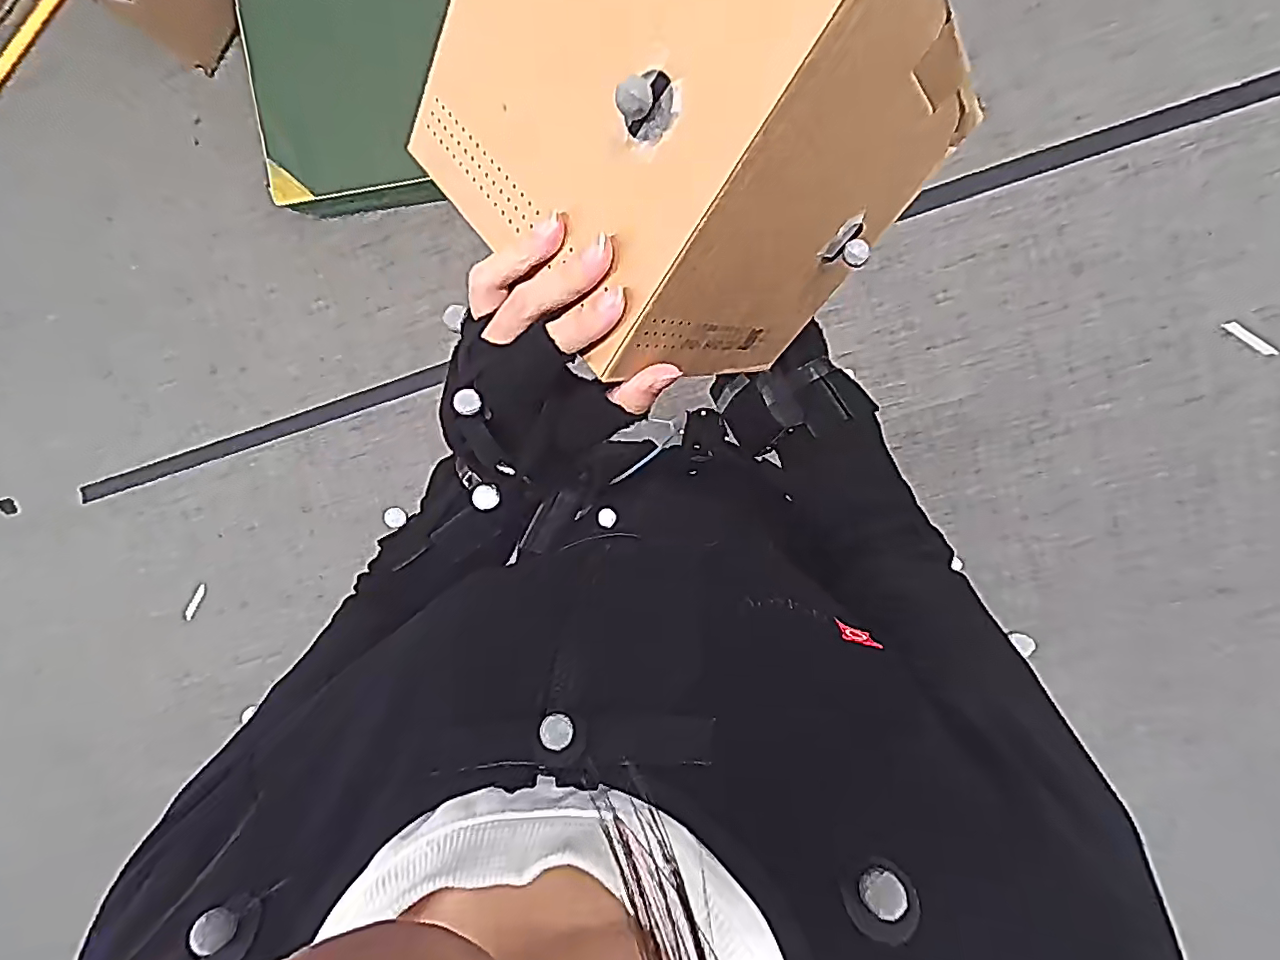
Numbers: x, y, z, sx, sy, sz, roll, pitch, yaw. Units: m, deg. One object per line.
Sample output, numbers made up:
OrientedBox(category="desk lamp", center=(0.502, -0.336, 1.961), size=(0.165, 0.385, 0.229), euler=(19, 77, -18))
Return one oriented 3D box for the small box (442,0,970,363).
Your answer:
OrientedBox(category="small box", center=(0.026, -0.178, 0.287), size=(0.179, 0.168, 0.176), euler=(51, 126, 18))
